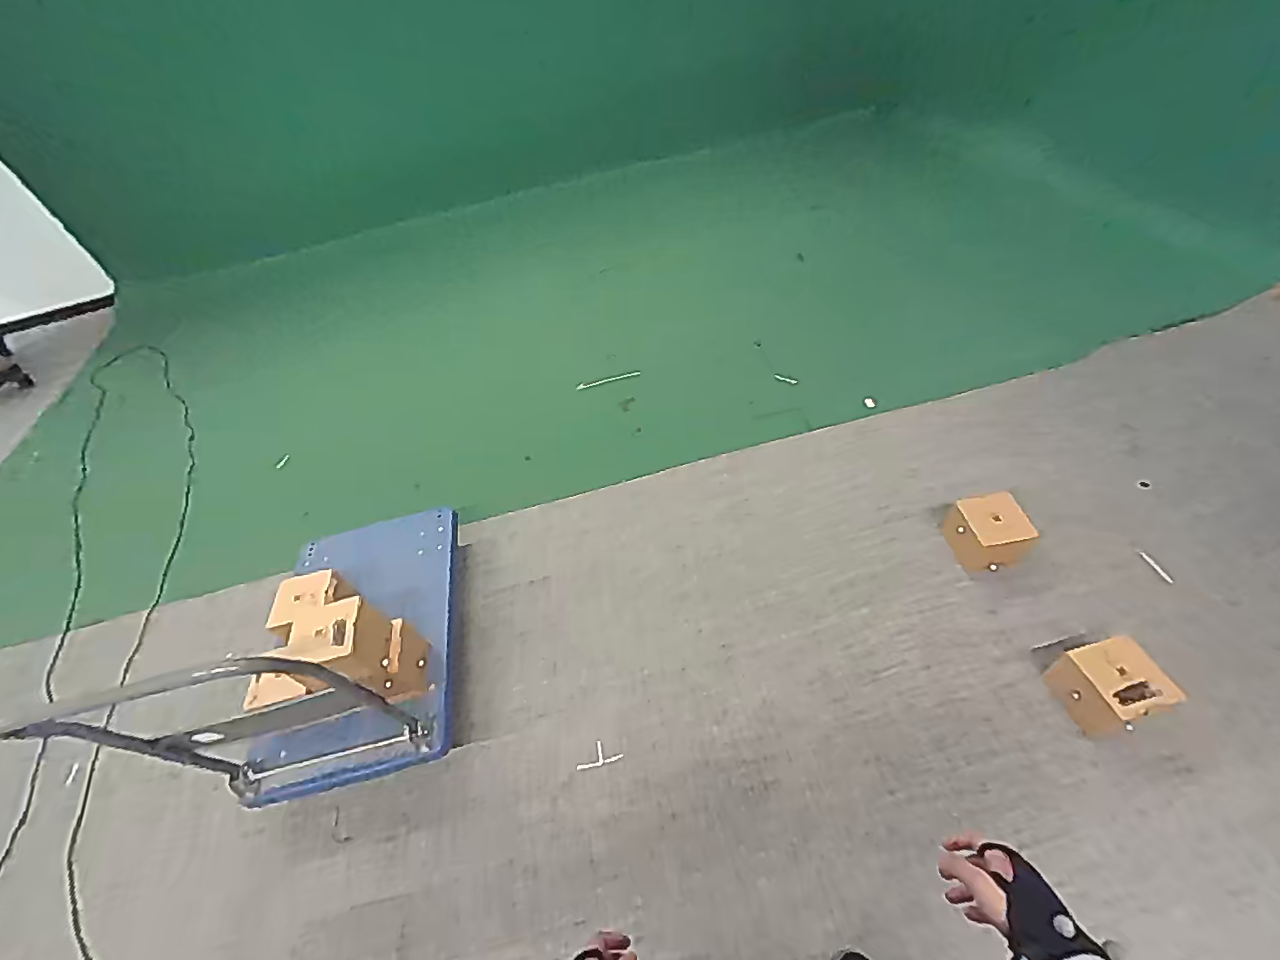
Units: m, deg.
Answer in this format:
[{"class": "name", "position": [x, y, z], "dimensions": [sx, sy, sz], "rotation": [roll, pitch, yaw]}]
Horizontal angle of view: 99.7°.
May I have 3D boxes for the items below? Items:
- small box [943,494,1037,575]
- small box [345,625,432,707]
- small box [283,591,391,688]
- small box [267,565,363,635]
[{"class": "small box", "position": [1.083, 0.172, 1.692], "dimensions": [0.168, 0.176, 0.179], "rotation": [-10, 49, 4]}, {"class": "small box", "position": [-0.725, 0.520, 1.534], "dimensions": [0.168, 0.176, 0.179], "rotation": [11, 54, 17]}, {"class": "small box", "position": [-0.774, 0.416, 1.403], "dimensions": [0.179, 0.176, 0.168], "rotation": [-15, 48, 0]}, {"class": "small box", "position": [-1.005, 0.392, 1.687], "dimensions": [0.179, 0.176, 0.168], "rotation": [-11, 49, 1]}]
